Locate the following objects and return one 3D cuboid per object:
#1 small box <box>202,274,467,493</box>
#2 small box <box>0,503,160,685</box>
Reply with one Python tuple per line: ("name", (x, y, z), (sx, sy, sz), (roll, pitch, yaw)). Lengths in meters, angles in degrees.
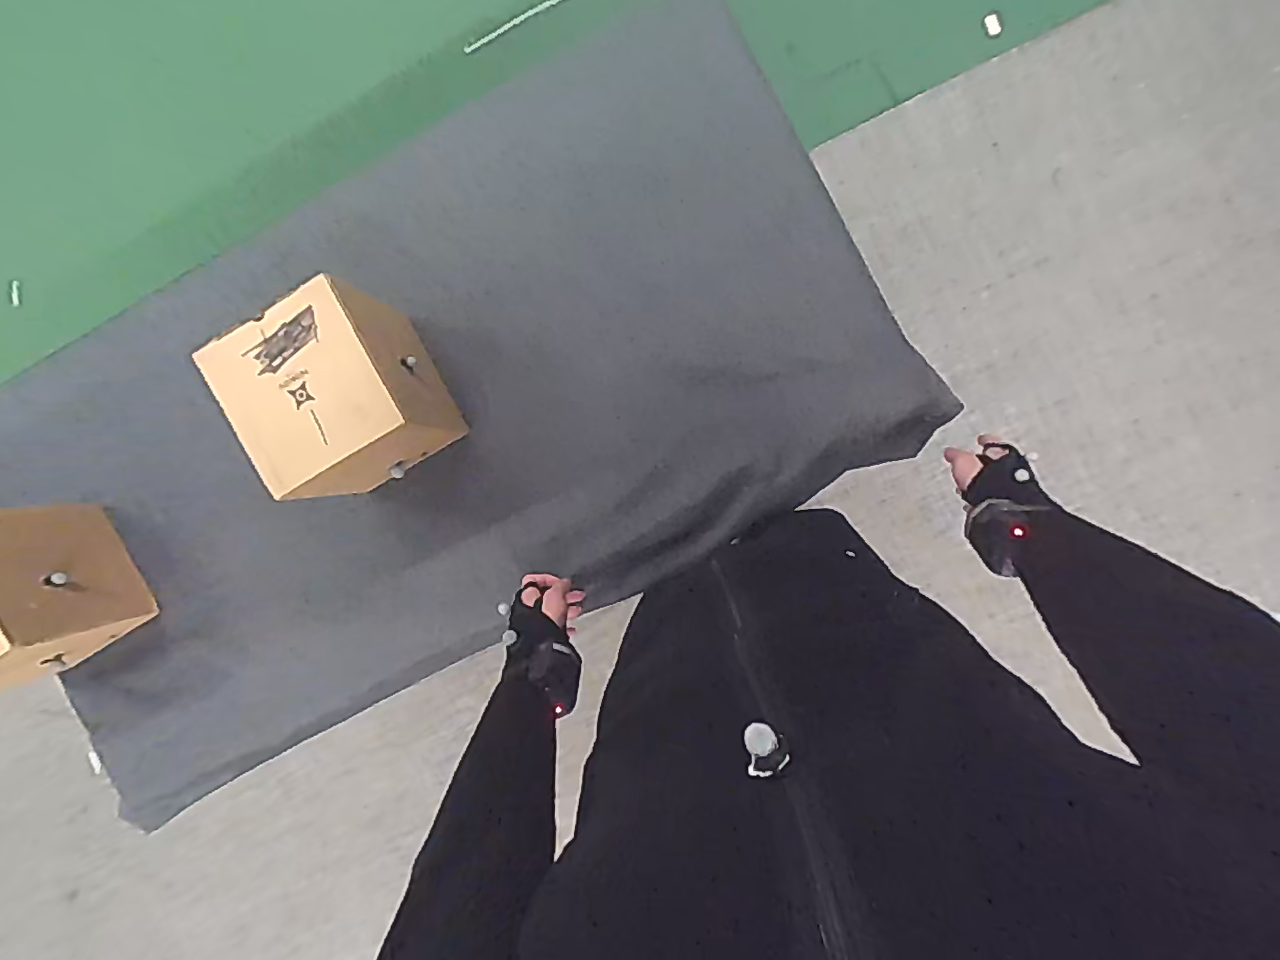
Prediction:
("small box", (-0.336, -0.099, 0.630), (0.168, 0.176, 0.179), (-29, 90, 5))
("small box", (-0.771, 0.144, 0.676), (0.168, 0.176, 0.179), (-31, 89, 5))
